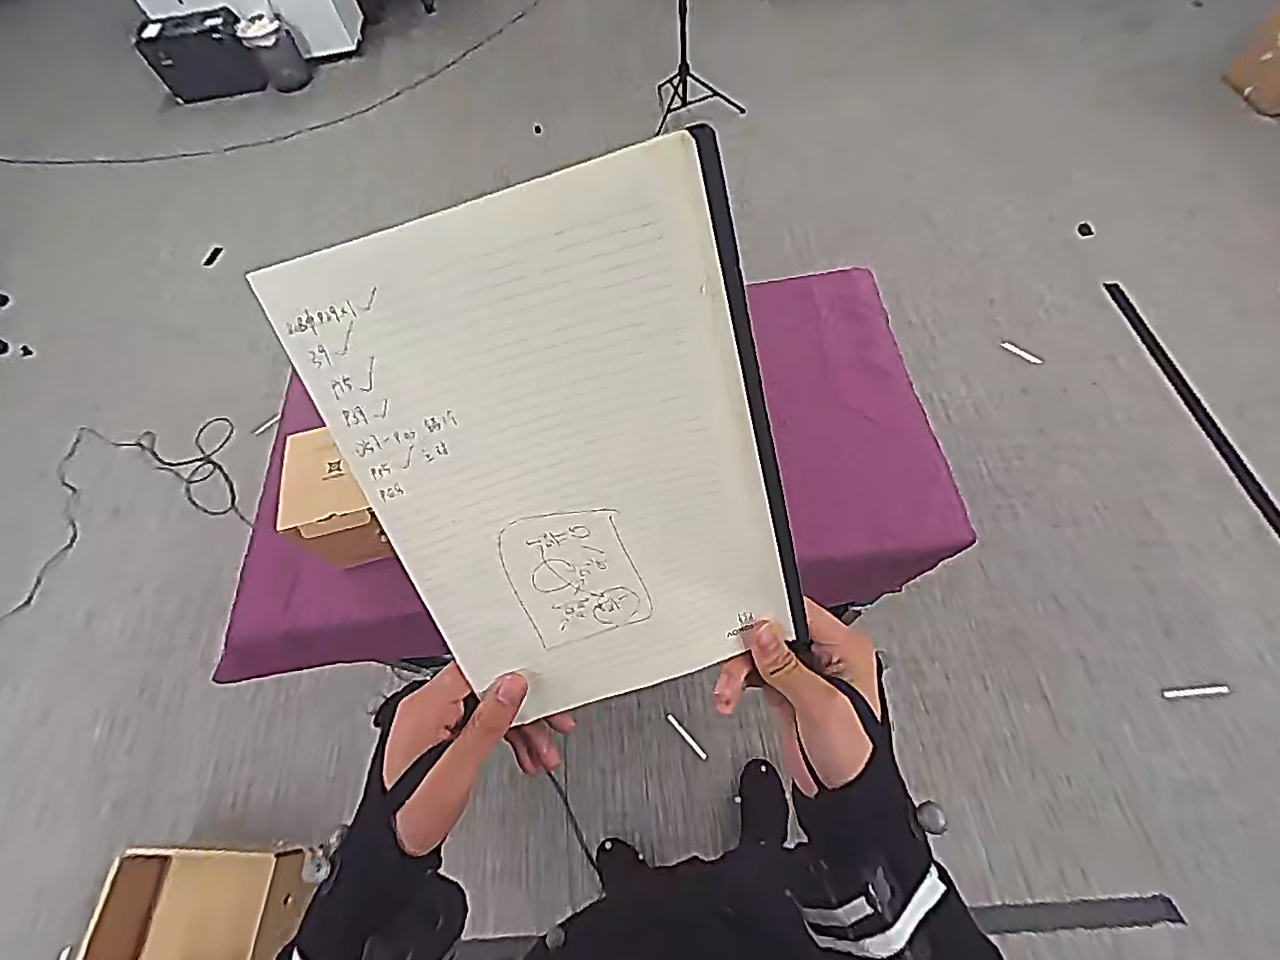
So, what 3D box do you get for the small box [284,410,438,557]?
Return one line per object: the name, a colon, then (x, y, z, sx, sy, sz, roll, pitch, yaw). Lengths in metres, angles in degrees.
small box: (-0.449, 0.015, 0.897, 0.168, 0.176, 0.179, -14, 62, -1)
